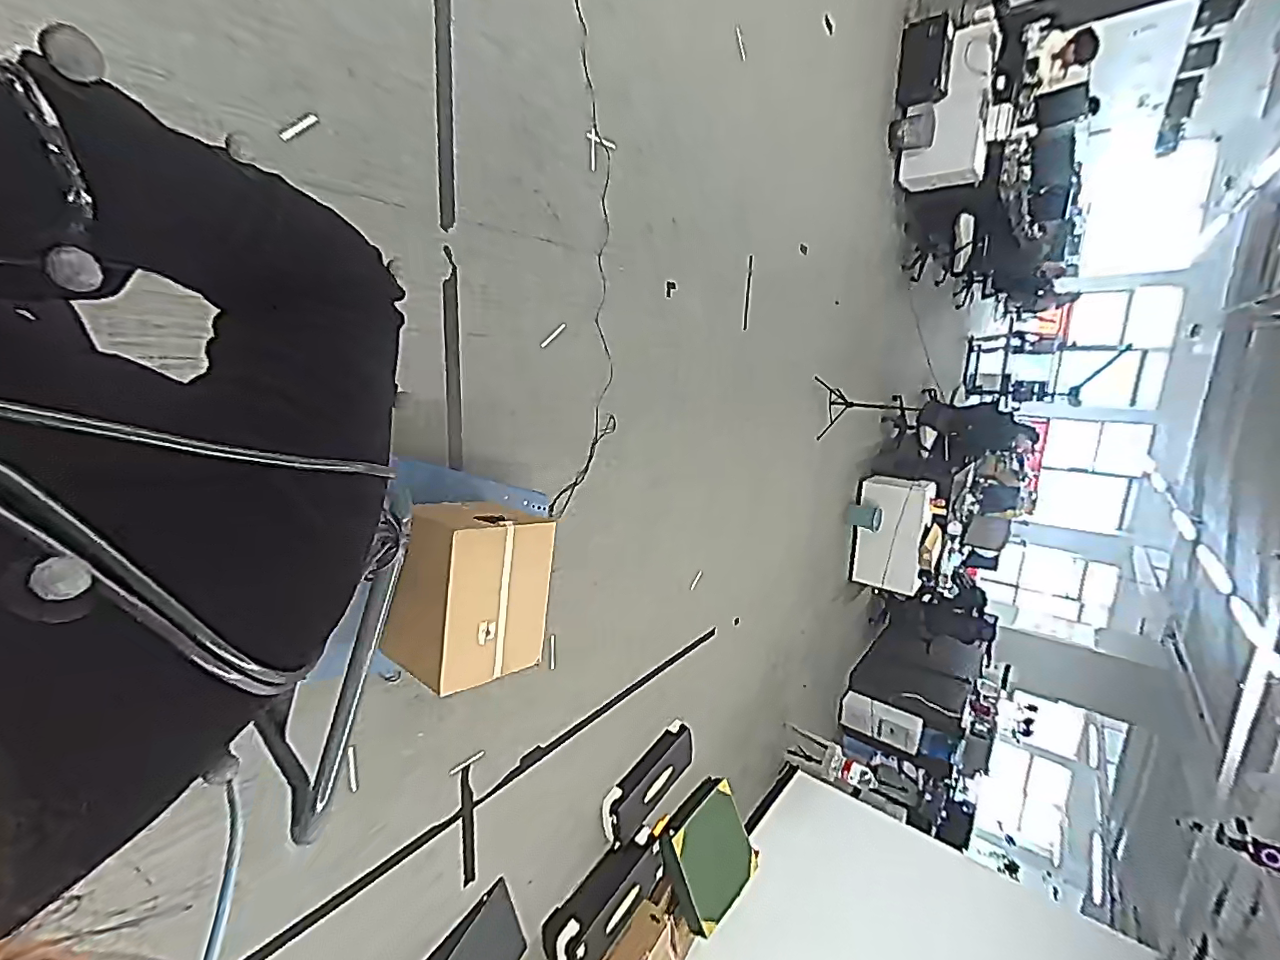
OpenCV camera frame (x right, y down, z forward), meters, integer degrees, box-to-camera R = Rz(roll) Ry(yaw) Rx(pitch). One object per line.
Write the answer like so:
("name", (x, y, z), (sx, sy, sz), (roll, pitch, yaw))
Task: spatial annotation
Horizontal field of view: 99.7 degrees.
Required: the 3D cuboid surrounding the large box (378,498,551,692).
("large box", (-0.470, 0.275, 1.443), (0.320, 0.320, 0.408), (0, 100, -51))
